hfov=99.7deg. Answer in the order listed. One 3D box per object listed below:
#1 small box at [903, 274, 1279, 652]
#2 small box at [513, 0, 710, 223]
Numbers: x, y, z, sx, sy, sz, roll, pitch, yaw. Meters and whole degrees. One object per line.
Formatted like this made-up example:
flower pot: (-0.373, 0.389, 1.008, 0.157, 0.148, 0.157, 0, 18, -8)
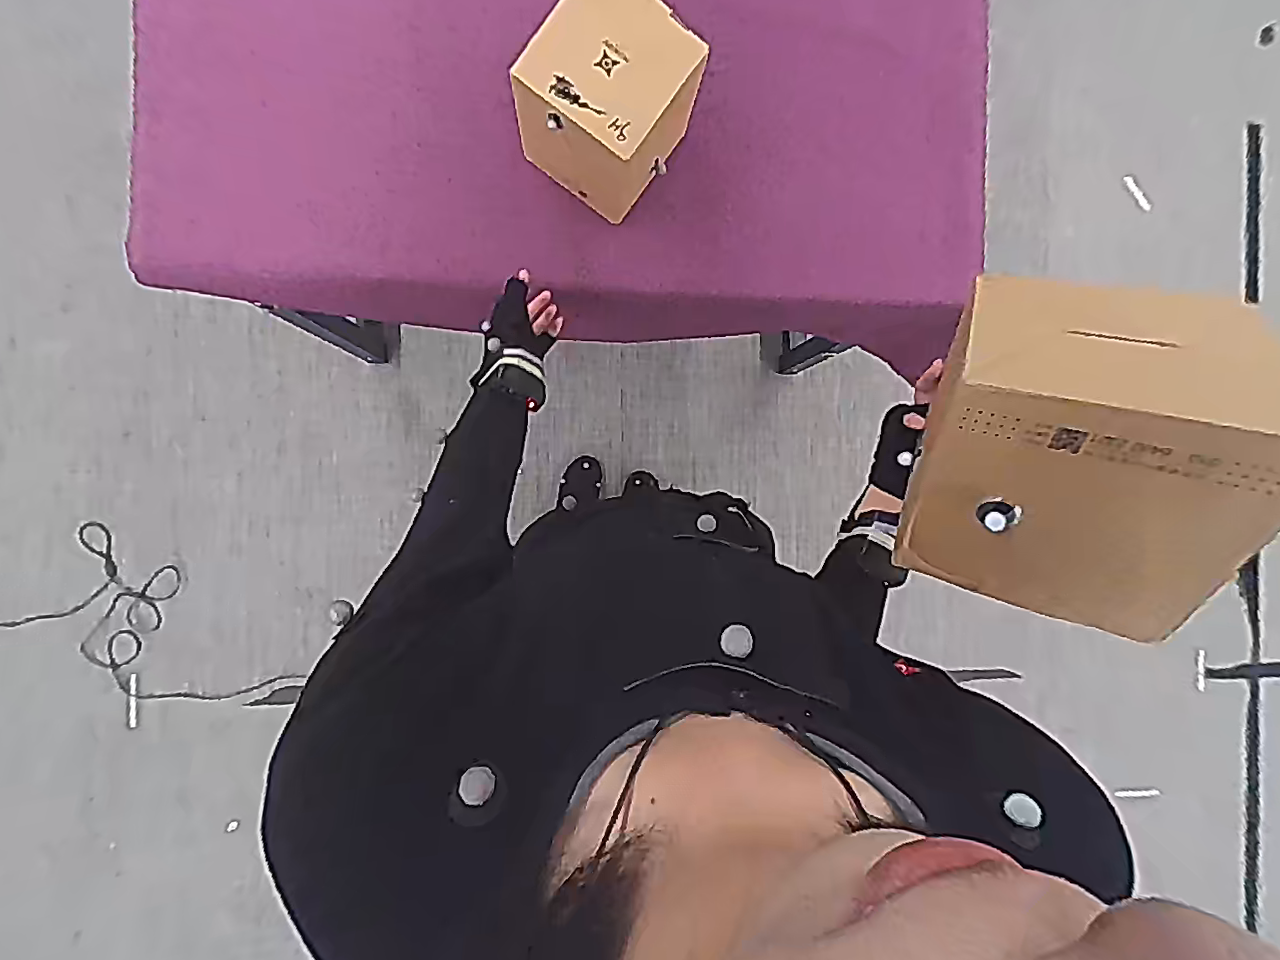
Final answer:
small box: (0.300, -0.025, 0.370, 0.168, 0.176, 0.179, 18, 45, 22)
small box: (-0.041, -0.479, 0.694, 0.168, 0.176, 0.179, 35, 86, -5)
